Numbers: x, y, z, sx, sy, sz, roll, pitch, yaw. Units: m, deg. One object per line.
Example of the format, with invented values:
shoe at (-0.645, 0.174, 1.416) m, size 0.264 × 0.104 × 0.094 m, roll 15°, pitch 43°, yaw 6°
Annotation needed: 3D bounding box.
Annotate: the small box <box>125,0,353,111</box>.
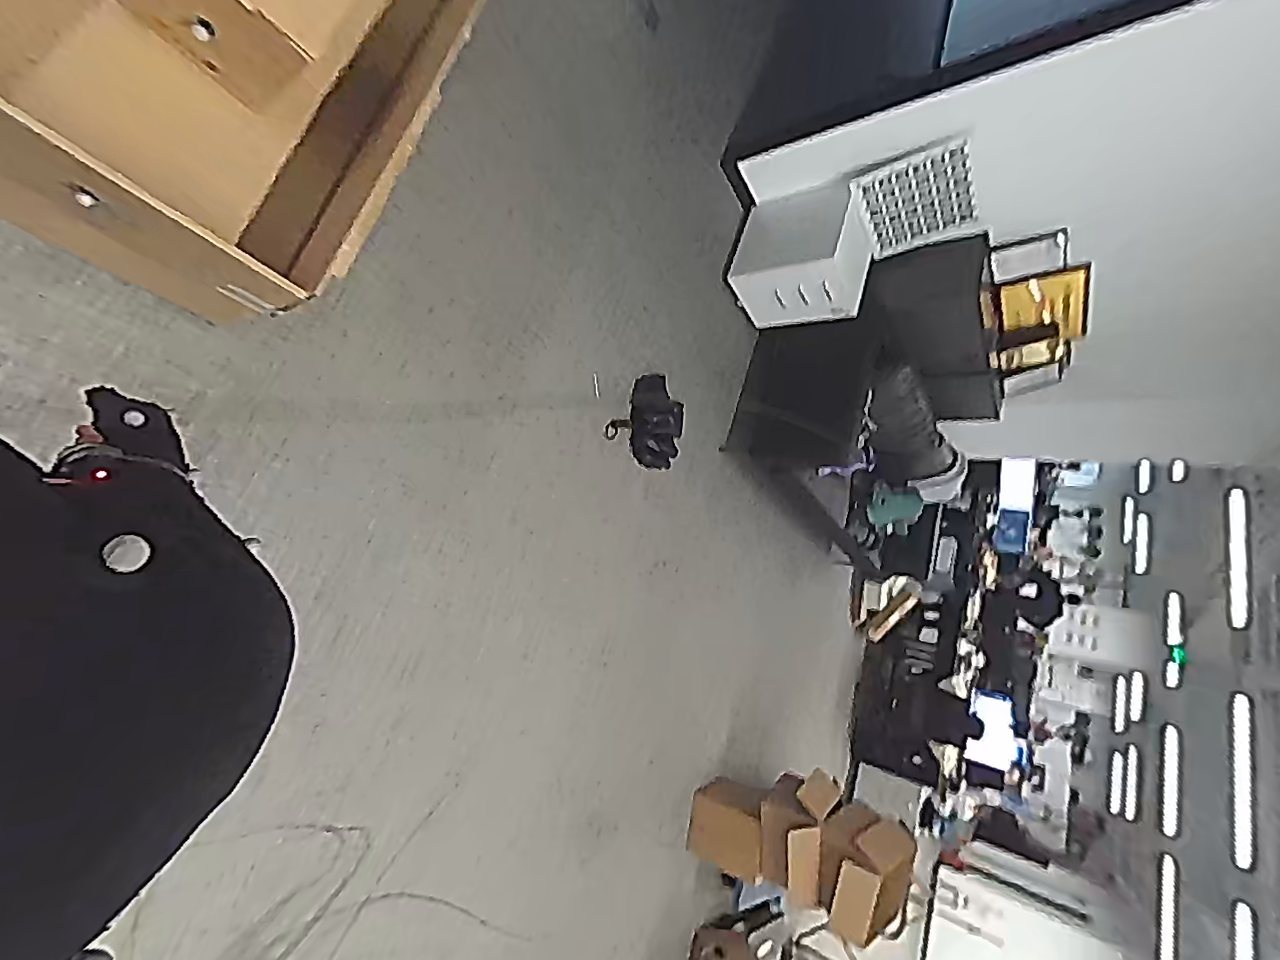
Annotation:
small box at (-0.442, -0.561, 0.598) m, size 0.168 × 0.176 × 0.179 m, roll 35°, pitch 66°, yaw -49°
